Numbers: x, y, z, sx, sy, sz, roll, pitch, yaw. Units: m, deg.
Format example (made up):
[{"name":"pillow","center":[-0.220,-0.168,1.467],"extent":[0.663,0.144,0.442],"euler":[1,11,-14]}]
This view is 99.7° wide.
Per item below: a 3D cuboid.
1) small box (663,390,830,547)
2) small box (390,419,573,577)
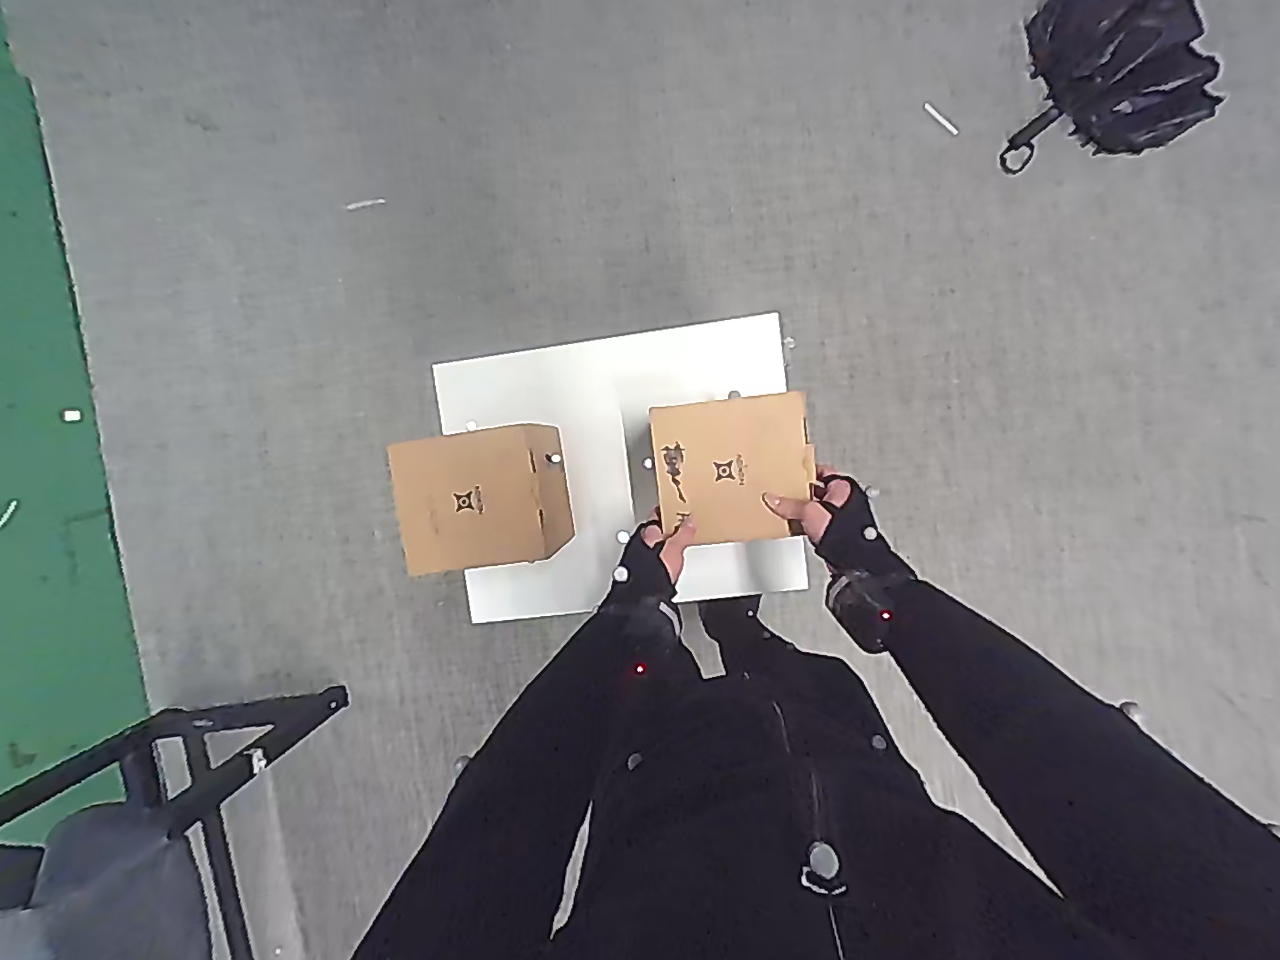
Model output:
[{"name":"small box","center":[0.122,-0.017,0.680],"extent":[0.179,0.176,0.168],"euler":[-6,93,3]},{"name":"small box","center":[-0.188,0.018,0.697],"extent":[0.179,0.176,0.168],"euler":[-8,91,3]}]
